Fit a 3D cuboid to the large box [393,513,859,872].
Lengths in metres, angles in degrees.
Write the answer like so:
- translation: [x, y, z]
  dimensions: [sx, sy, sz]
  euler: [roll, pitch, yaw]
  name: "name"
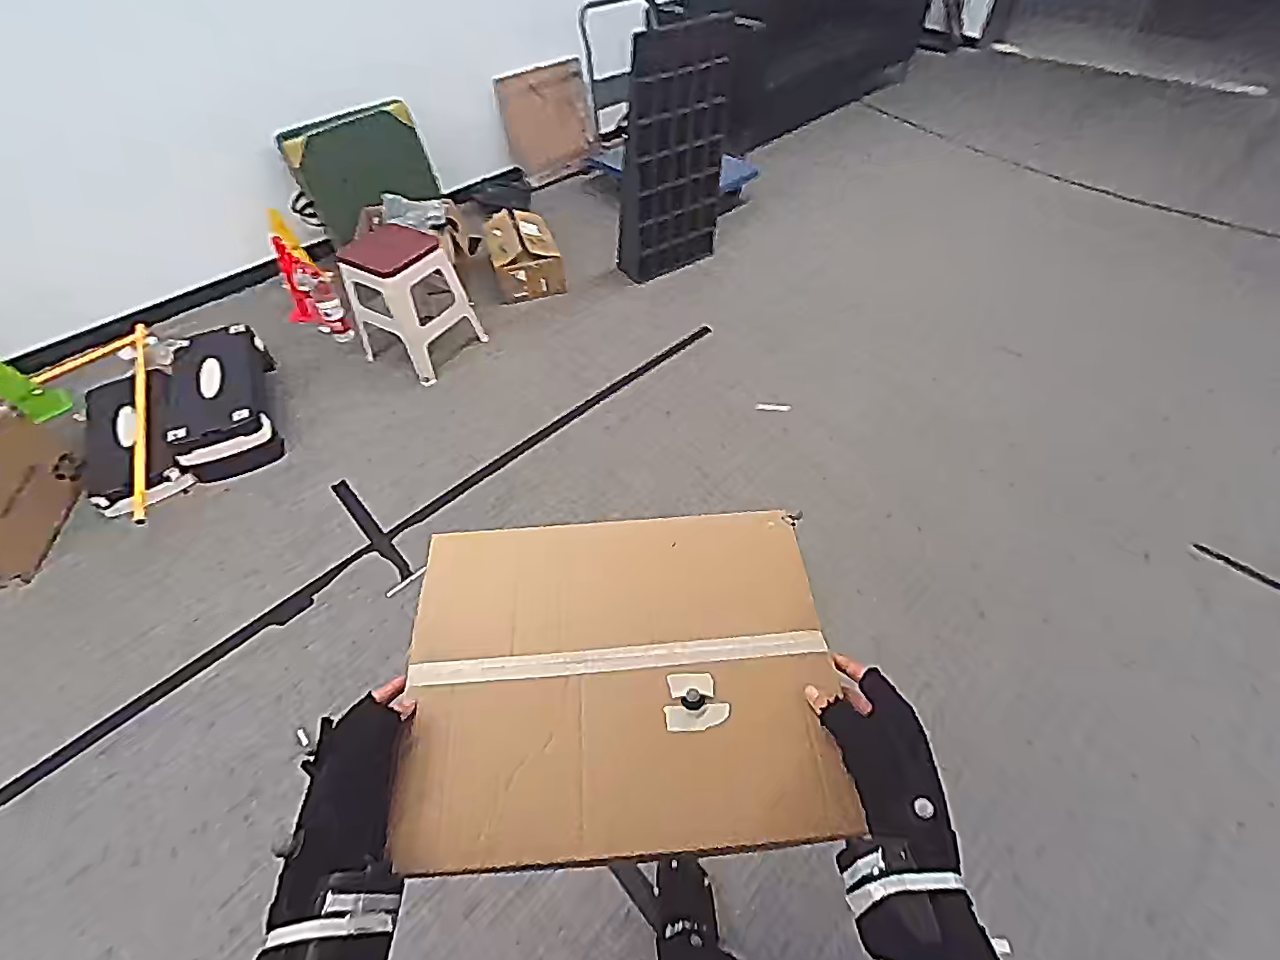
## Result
- translation: [-0.020, 0.265, 0.659]
  dimensions: [0.408, 0.320, 0.320]
  euler: [-4, 54, -2]
  name: "large box"
